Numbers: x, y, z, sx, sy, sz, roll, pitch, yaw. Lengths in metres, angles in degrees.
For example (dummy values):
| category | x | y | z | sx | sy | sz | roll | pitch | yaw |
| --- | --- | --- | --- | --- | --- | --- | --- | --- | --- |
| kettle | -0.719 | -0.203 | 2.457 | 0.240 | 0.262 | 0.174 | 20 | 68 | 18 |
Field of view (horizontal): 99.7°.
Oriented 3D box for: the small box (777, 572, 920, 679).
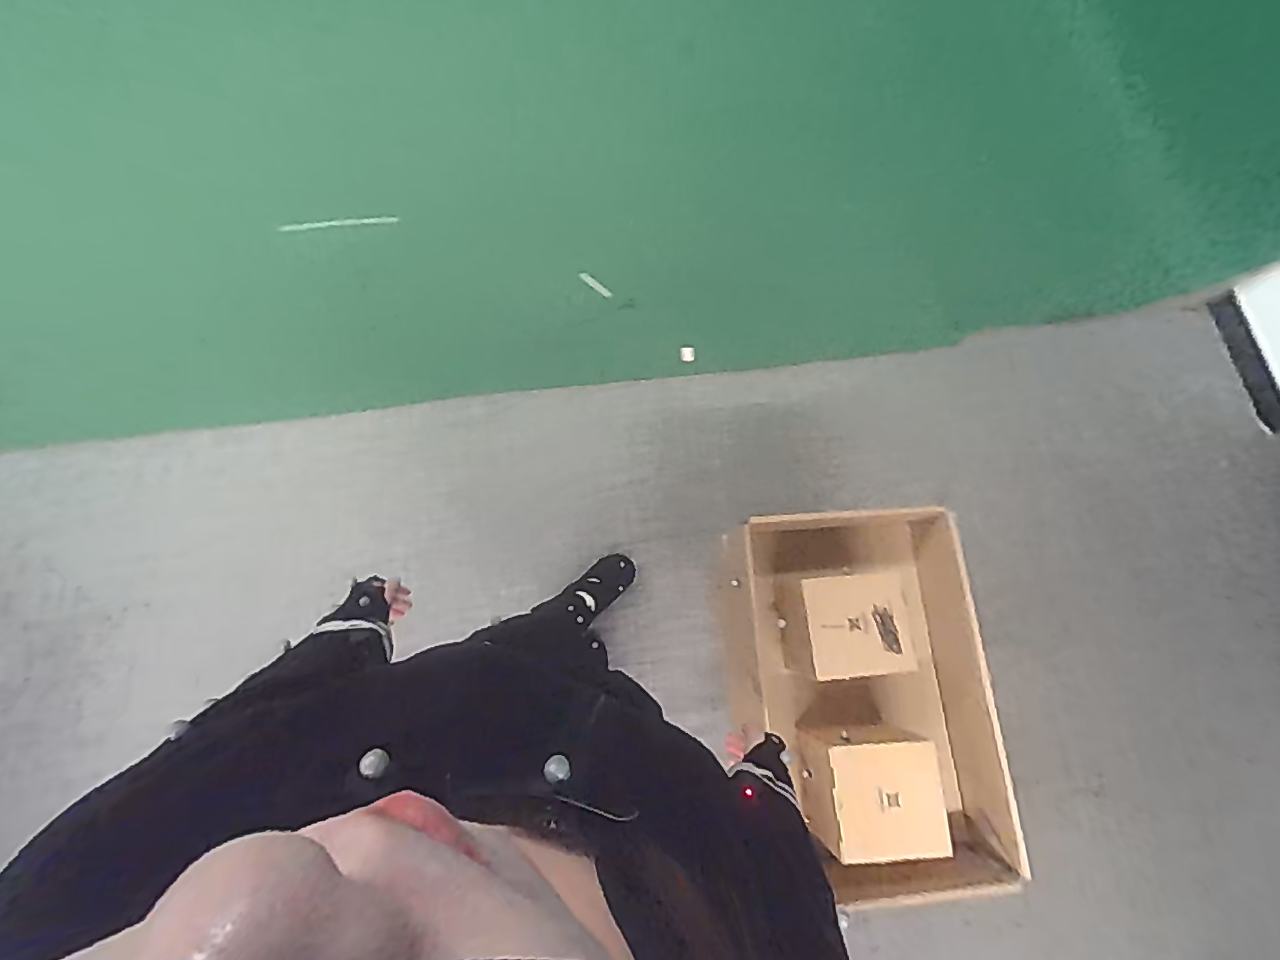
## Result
| category | x | y | z | sx | sy | sz | roll | pitch | yaw |
| --- | --- | --- | --- | --- | --- | --- | --- | --- | --- |
| small box | 0.364 | 0.256 | 0.974 | 0.179 | 0.176 | 0.168 | -4 | 77 | -2 |
